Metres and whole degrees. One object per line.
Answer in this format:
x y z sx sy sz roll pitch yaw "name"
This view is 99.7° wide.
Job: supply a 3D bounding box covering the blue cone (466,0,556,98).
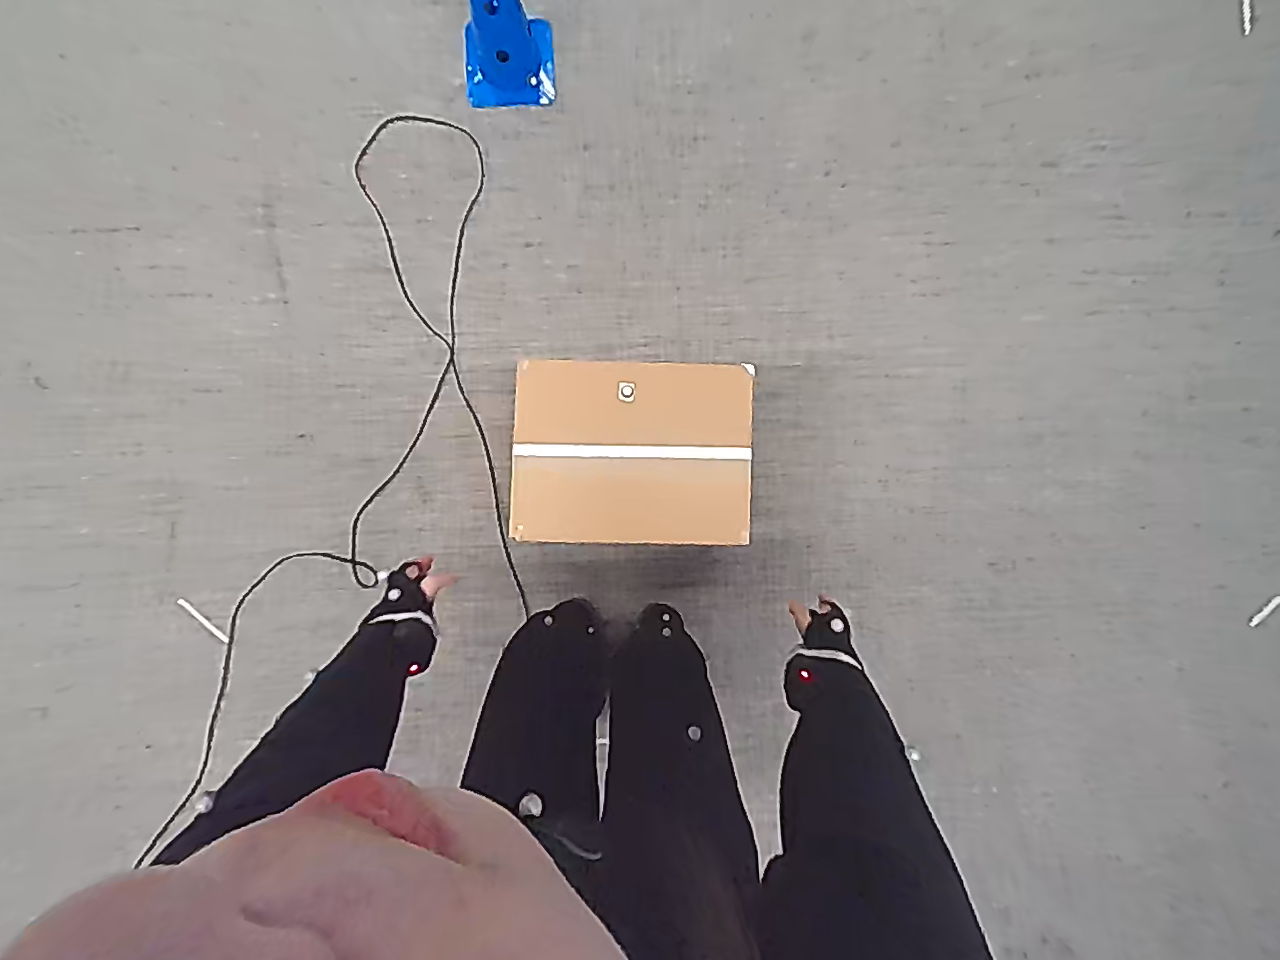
-0.281 -0.956 1.046 0.193 0.380 0.192 -5 89 -3 "blue cone"
